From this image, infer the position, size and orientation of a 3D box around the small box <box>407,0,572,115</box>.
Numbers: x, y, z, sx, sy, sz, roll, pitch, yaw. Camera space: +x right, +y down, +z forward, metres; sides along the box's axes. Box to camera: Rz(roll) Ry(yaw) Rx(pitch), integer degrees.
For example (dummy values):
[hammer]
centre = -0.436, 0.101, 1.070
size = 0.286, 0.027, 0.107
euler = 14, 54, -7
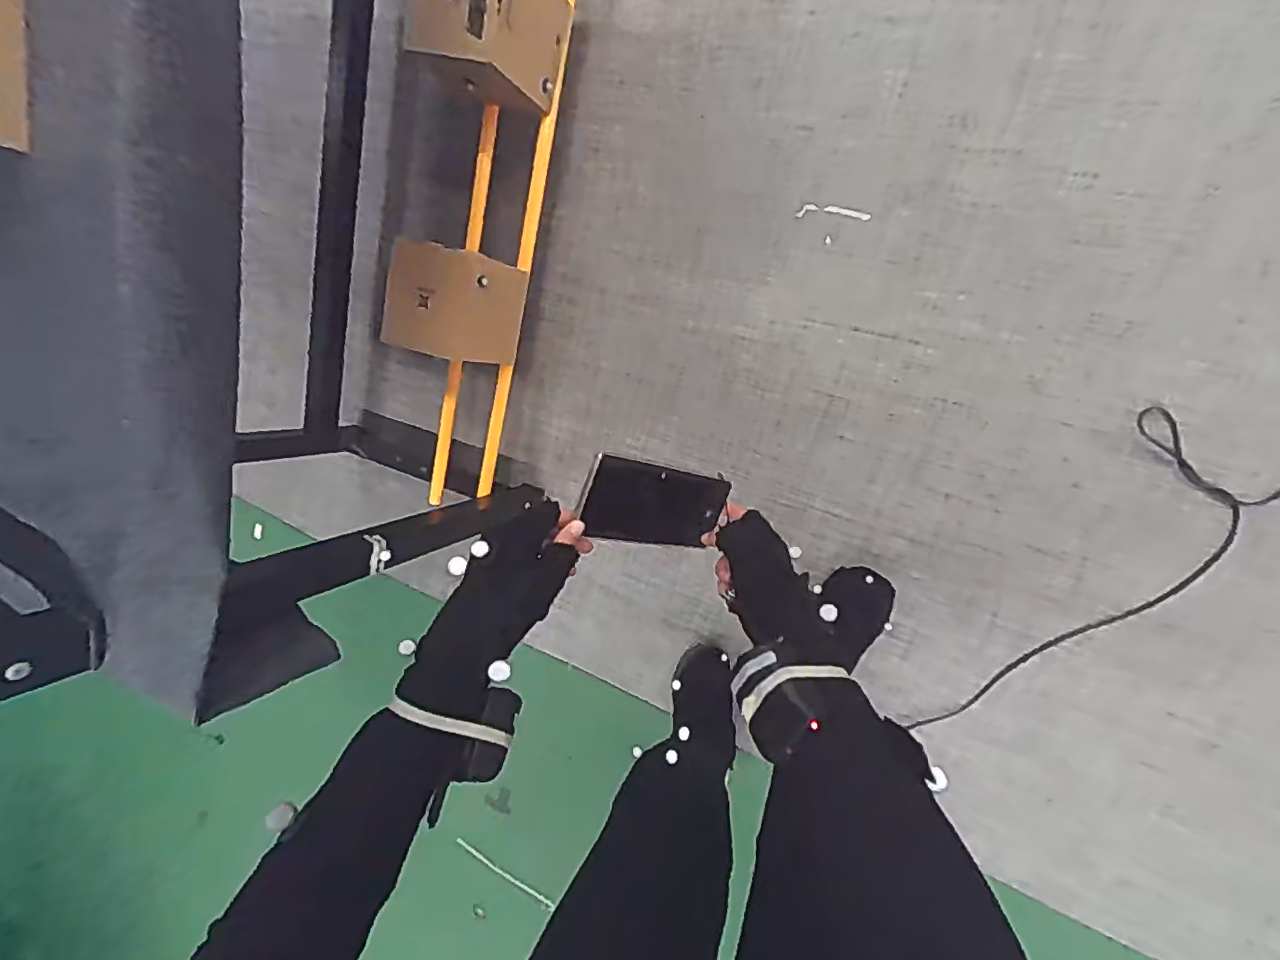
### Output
[small box]
centre = -0.233, -0.719, 0.866
size = 0.179, 0.176, 0.168
euler = 22, 106, 18
